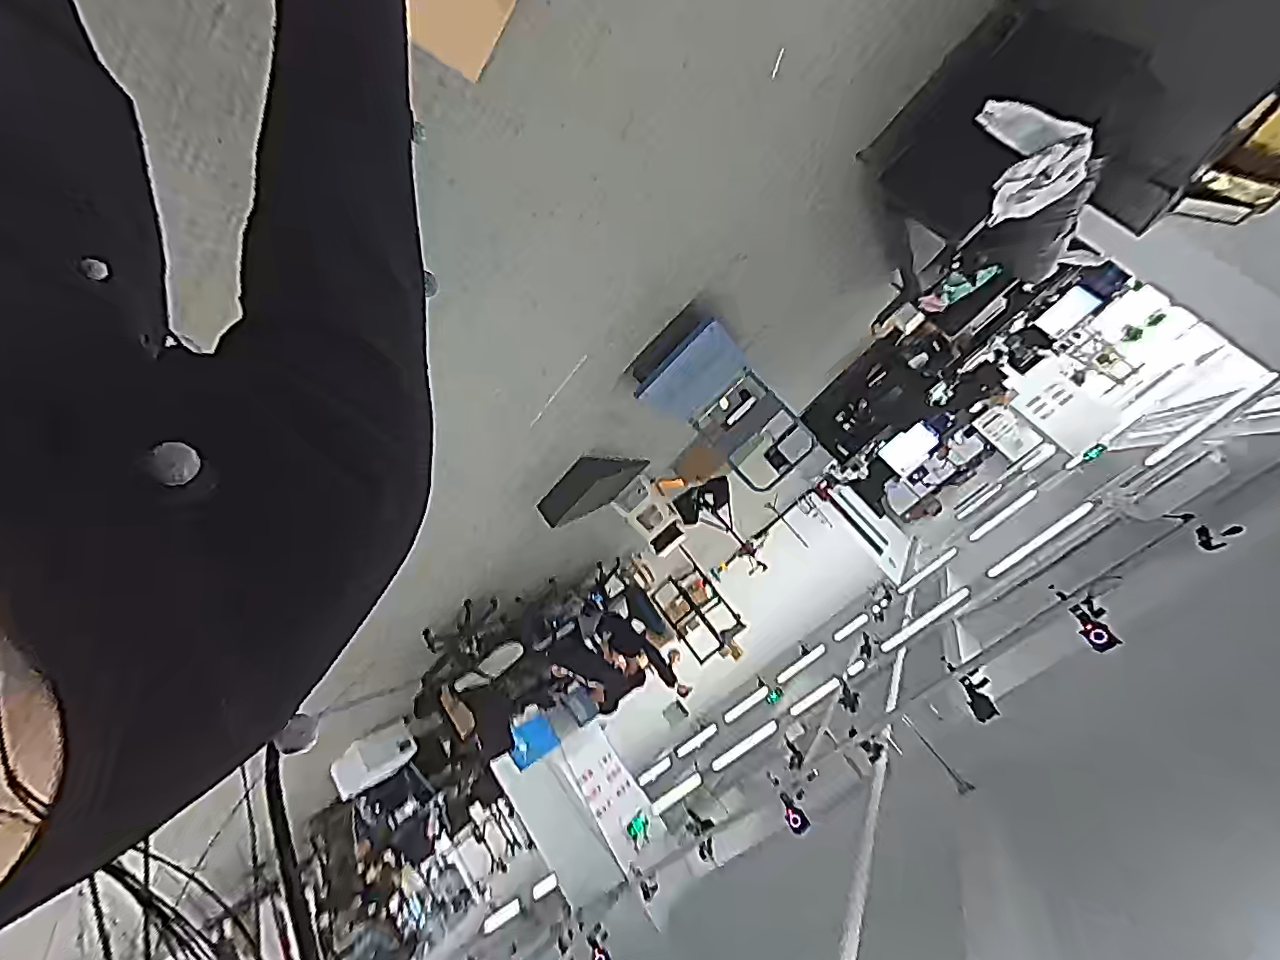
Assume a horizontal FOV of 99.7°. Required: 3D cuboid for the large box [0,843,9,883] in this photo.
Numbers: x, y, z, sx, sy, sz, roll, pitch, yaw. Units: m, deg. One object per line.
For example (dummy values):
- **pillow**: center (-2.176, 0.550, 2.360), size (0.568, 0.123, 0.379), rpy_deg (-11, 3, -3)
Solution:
- **large box**: center (-1.508, 0.768, 1.019), size (0.408, 0.320, 0.320), rpy_deg (-44, 160, 18)
